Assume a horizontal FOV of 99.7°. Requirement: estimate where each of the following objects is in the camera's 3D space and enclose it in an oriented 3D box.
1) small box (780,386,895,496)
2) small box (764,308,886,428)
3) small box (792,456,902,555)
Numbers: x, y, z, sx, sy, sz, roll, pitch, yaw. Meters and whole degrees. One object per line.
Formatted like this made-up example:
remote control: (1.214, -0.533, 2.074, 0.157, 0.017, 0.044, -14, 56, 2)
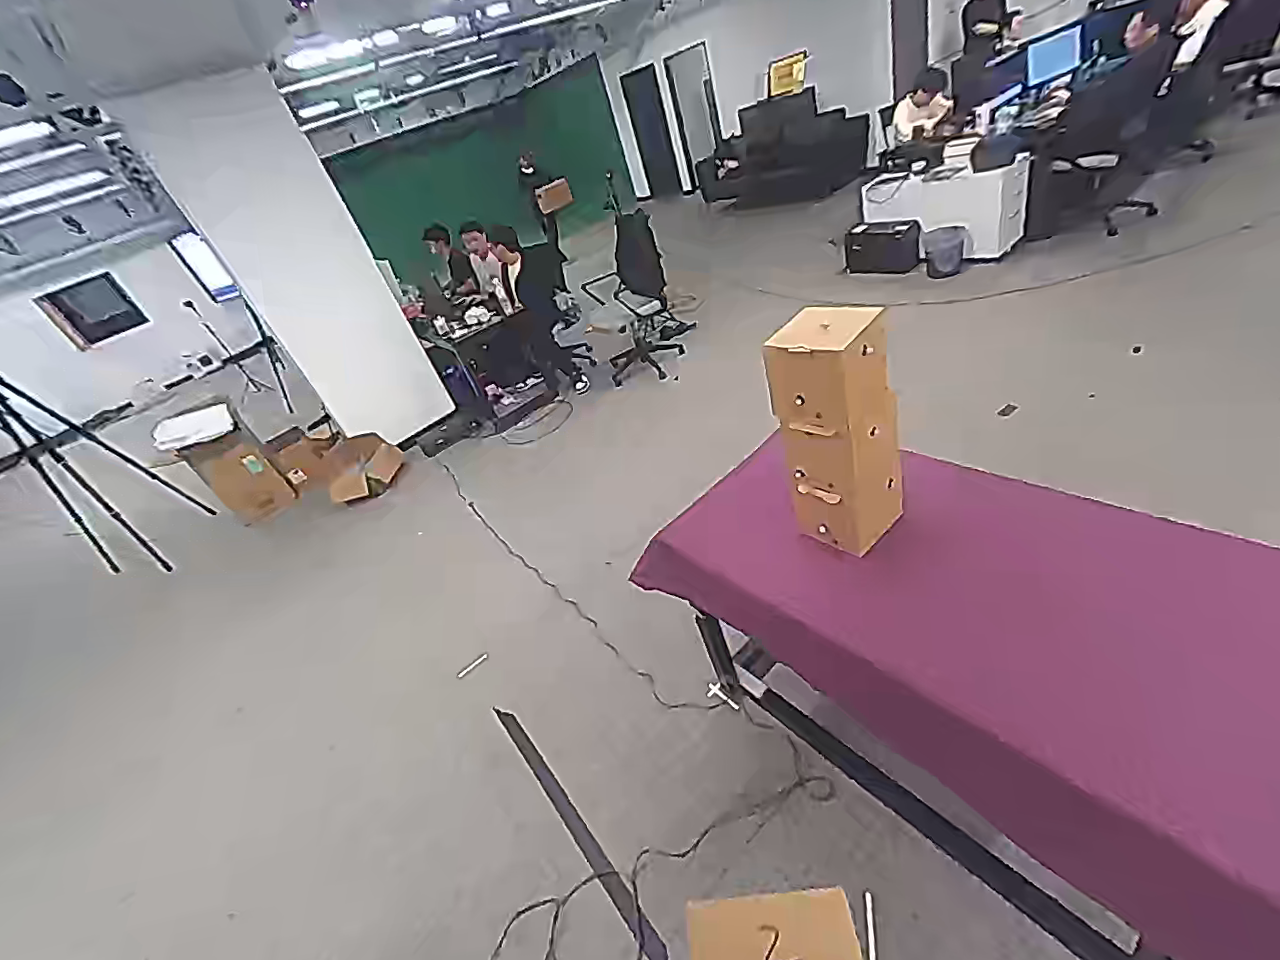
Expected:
small box: (0.427, -0.092, 1.148, 0.179, 0.176, 0.168, -39, 38, -26)
small box: (0.371, -0.225, 1.071, 0.168, 0.176, 0.179, 17, 49, 42)
small box: (0.476, 0.037, 1.237, 0.179, 0.176, 0.168, -37, 36, -22)
